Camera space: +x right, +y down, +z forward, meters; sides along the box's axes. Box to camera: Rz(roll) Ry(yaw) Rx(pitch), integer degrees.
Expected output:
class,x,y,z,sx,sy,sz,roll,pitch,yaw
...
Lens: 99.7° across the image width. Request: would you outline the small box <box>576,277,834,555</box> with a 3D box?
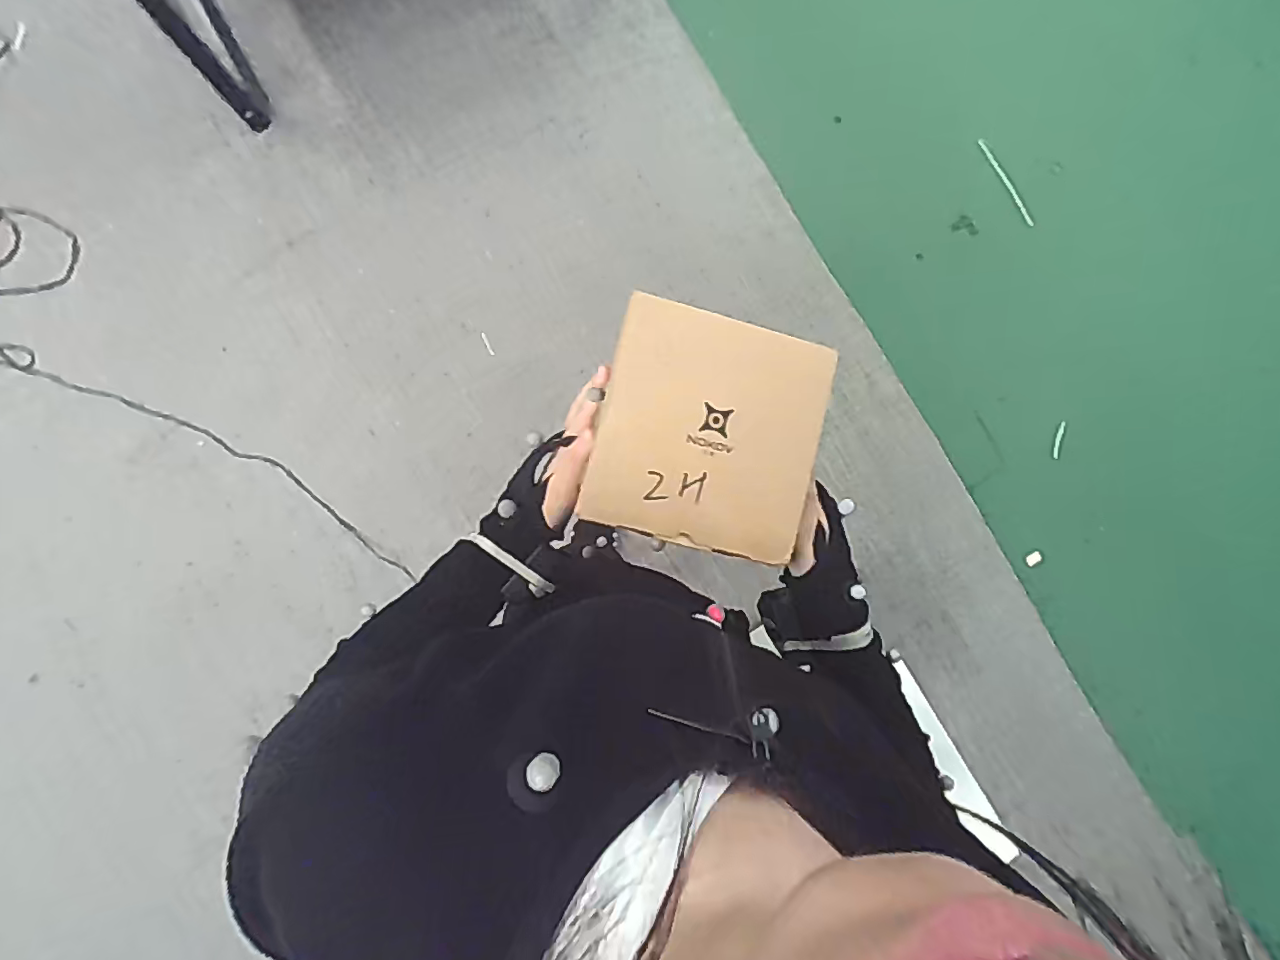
class,x,y,z,sx,sy,sz,roll,pitch,yaw
small box,0.042,-0.044,0.475,0.168,0.176,0.179,13,87,-5
